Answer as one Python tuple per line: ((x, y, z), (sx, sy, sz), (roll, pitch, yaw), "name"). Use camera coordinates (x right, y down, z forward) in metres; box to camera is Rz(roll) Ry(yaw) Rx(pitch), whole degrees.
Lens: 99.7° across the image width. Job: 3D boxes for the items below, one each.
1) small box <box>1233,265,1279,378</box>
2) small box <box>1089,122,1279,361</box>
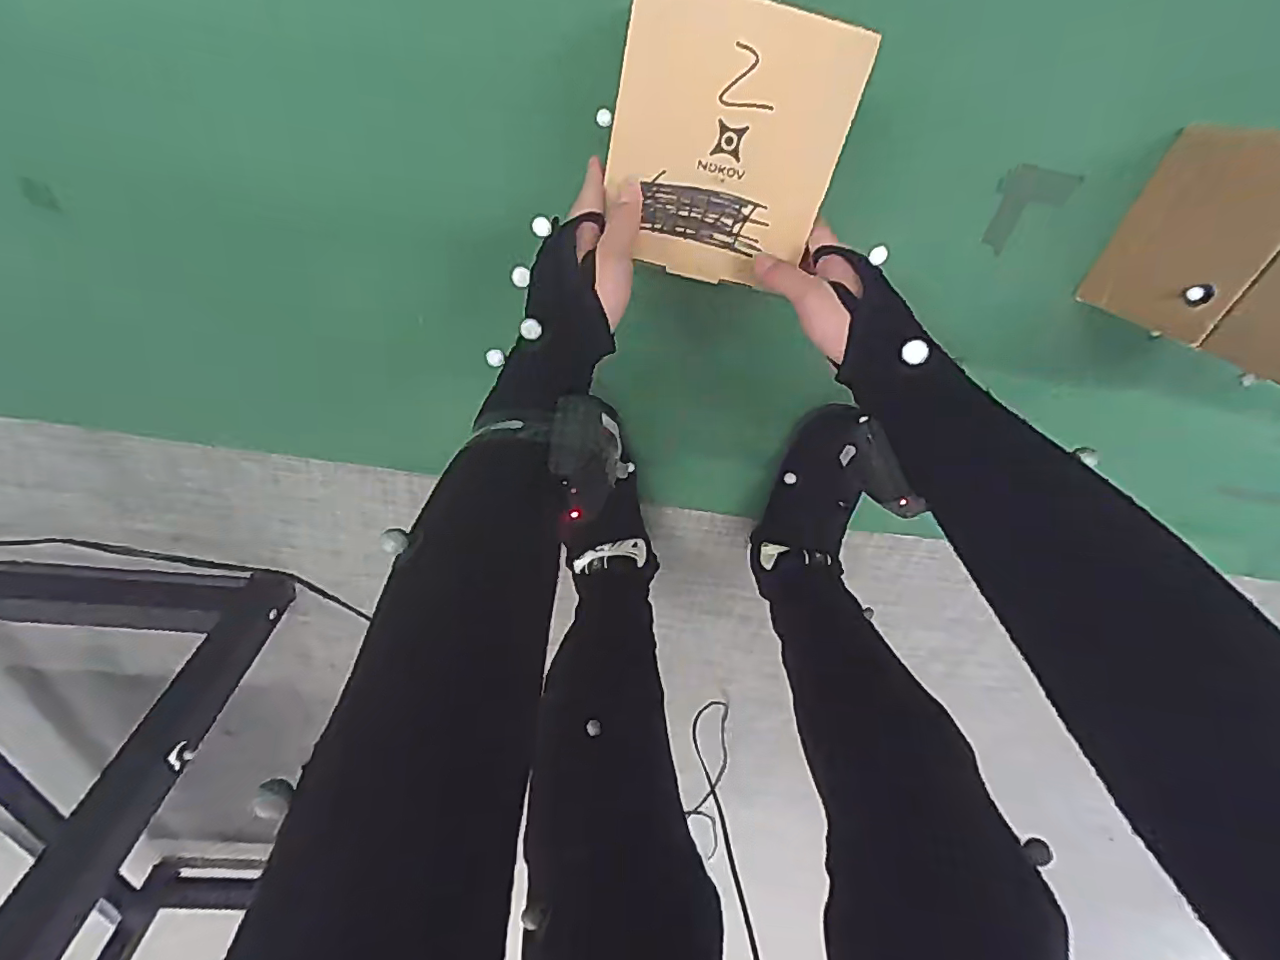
((0.597, -0.124, 0.376), (0.168, 0.176, 0.179), (10, 124, -9), "small box")
((0.593, -0.218, 0.510), (0.168, 0.176, 0.179), (9, 125, -8), "small box")
